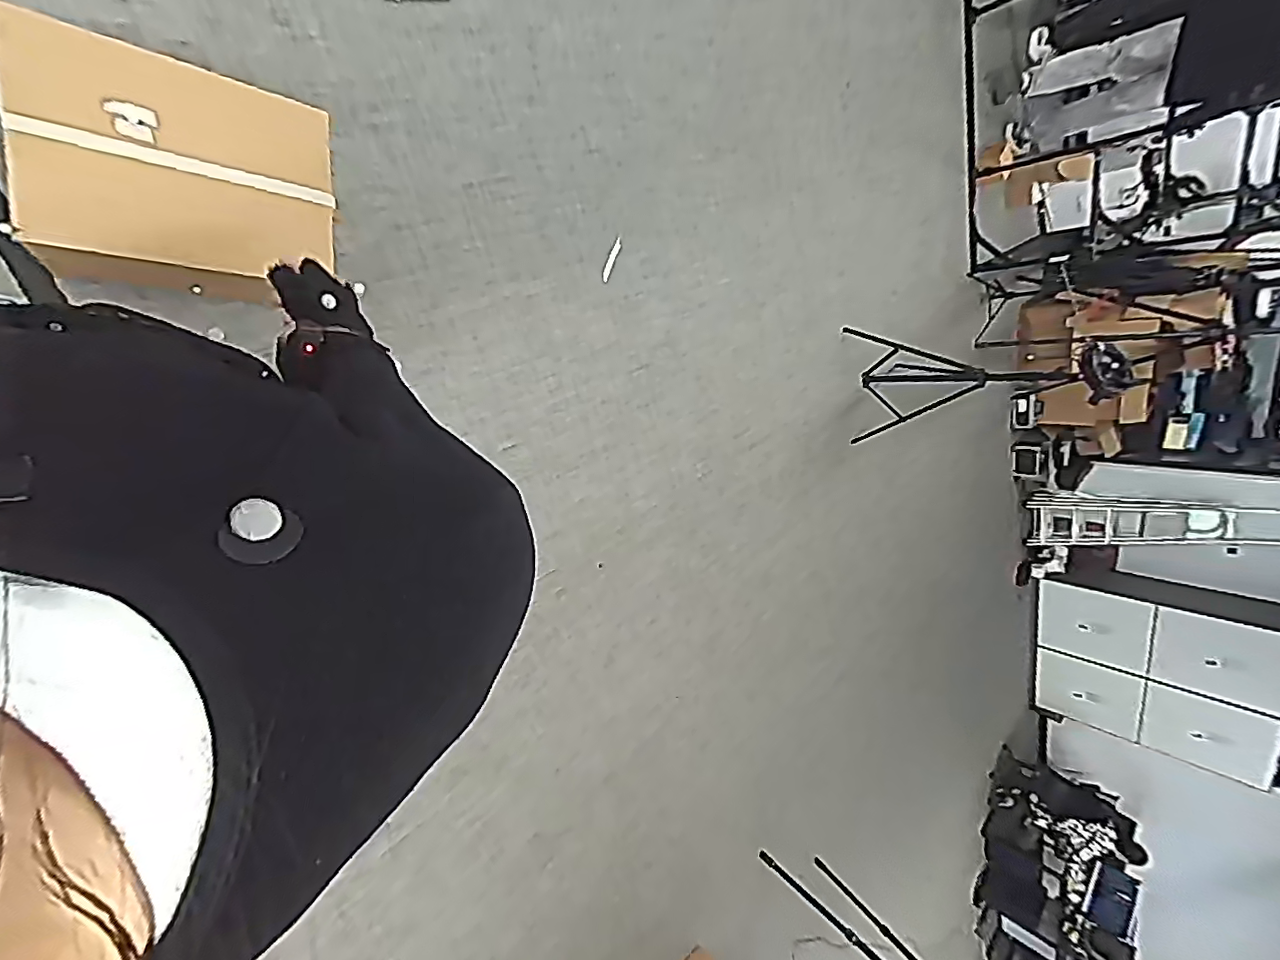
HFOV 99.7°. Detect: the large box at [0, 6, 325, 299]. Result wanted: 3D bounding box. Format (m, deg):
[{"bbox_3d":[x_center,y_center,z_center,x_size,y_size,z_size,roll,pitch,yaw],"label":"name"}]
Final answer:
[{"bbox_3d":[-0.837,-0.530,0.986,0.408,0.320,0.320,-4,99,-40],"label":"large box"}]
